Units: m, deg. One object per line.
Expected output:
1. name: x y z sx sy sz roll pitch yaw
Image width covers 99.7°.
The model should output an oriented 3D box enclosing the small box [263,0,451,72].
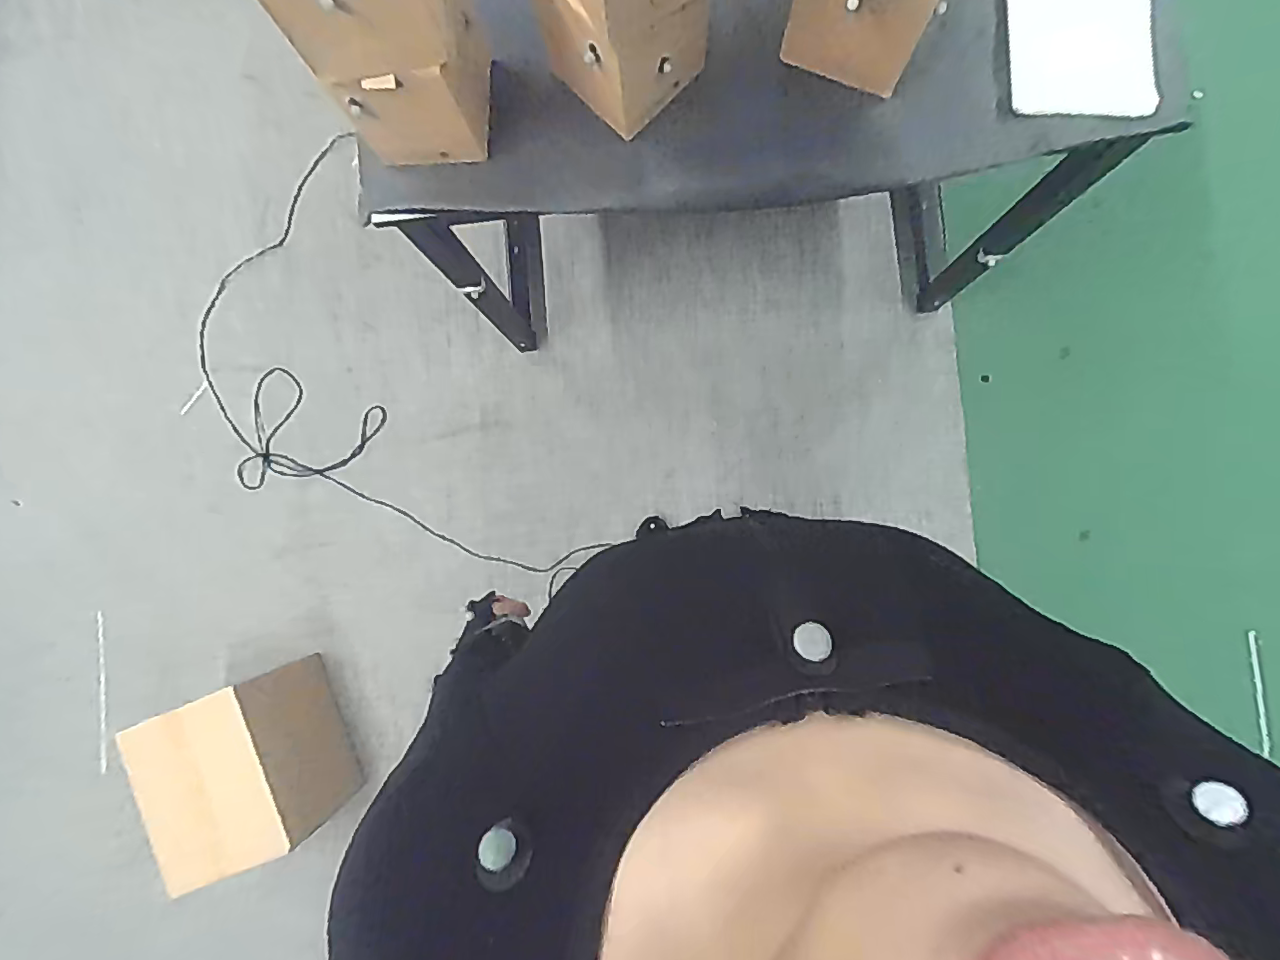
1. small box: -0.330 -0.592 0.590 0.179 0.176 0.168 -8 84 3

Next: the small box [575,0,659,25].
1. small box: -0.024 -0.643 0.574 0.168 0.176 0.179 -33 84 0

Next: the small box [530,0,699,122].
1. small box: -0.030 -0.638 0.737 0.168 0.176 0.179 -45 85 0

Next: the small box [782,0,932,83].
1. small box: 0.311 -0.680 0.717 0.179 0.176 0.168 25 88 6
